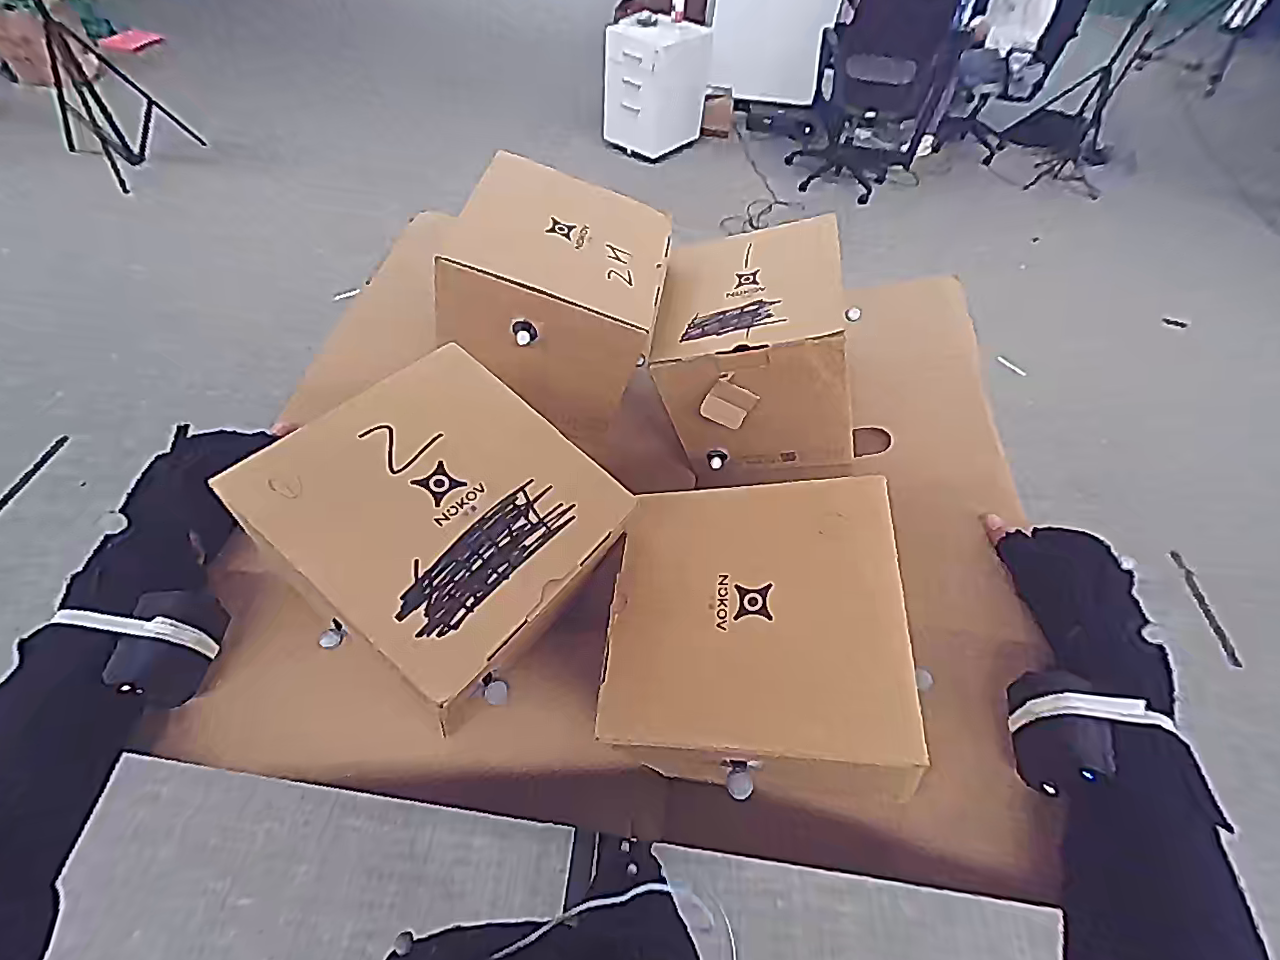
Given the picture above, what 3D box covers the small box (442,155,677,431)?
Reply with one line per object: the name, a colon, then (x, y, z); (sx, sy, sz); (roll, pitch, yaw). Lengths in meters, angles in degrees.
small box: (-0.082, -0.173, 0.539); (0.179, 0.176, 0.168); (18, 57, -9)
